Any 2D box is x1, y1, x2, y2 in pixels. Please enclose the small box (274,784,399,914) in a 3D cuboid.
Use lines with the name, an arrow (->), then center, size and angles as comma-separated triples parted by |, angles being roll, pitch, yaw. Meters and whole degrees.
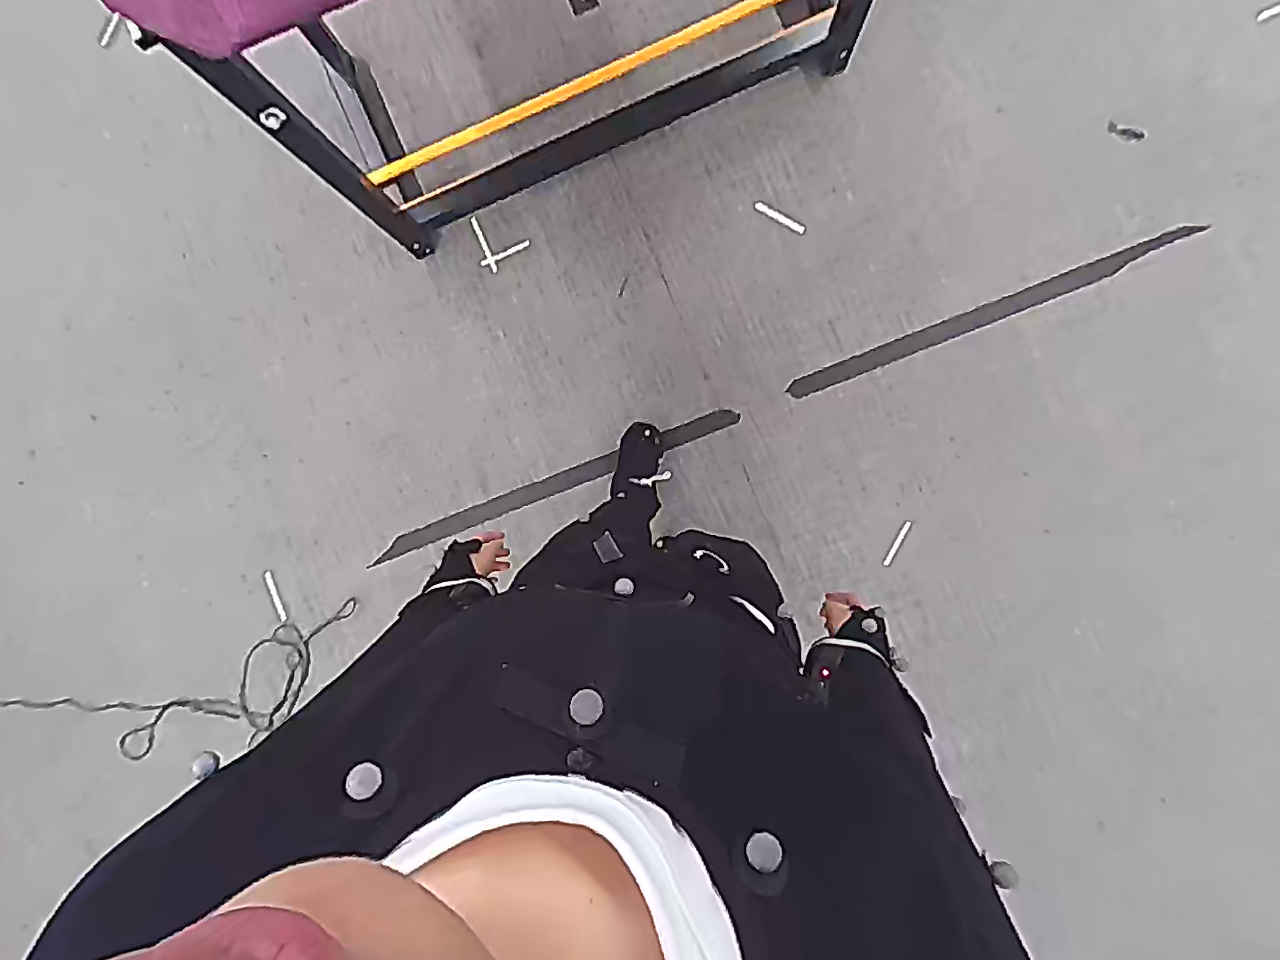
small box -> -0.741, 0.903, 1.339 | 0.179, 0.176, 0.168 | -29, 89, 3
